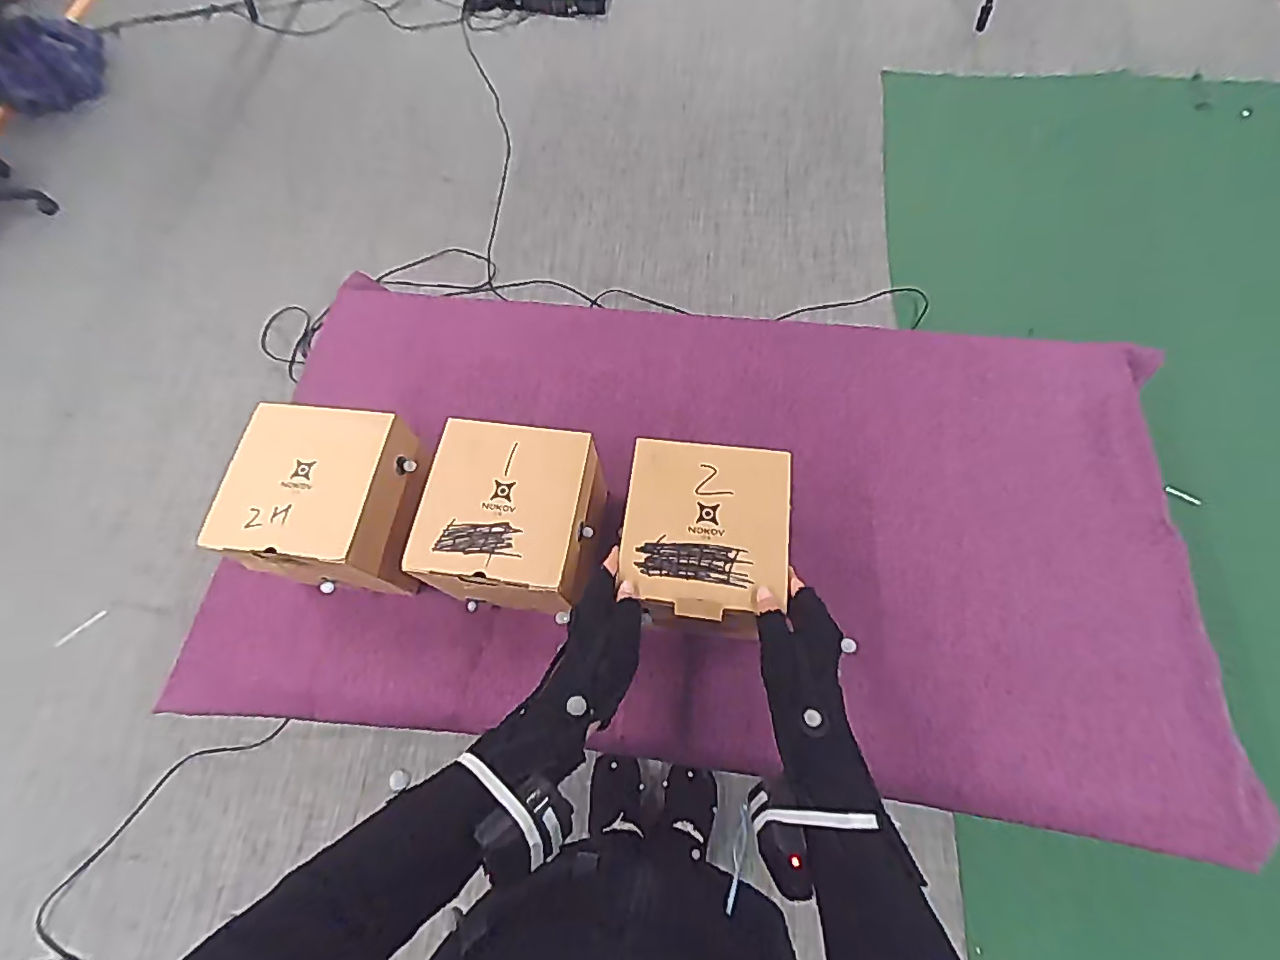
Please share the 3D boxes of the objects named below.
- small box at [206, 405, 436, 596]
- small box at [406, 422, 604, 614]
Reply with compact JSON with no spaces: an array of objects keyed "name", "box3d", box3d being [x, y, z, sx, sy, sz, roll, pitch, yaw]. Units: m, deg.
[{"name":"small box","box3d":[-0.360,0.031,0.663,0.168,0.176,0.179,5,67,6]},{"name":"small box","box3d":[-0.142,0.053,0.643,0.168,0.176,0.179,7,67,6]}]
